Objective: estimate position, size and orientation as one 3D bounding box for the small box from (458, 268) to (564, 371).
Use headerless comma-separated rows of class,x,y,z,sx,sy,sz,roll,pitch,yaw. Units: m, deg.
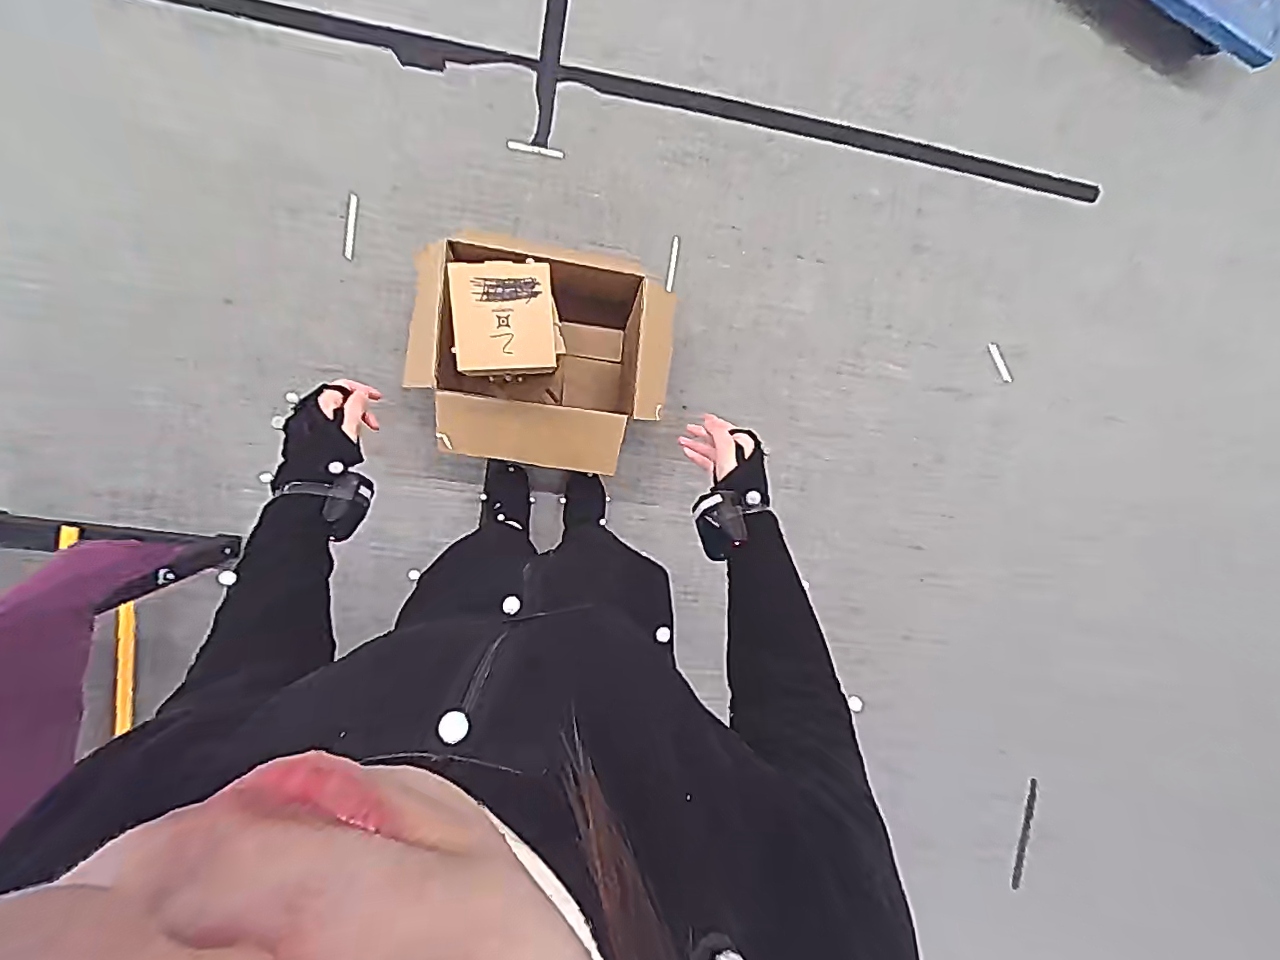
small box,-0.266,-0.330,1.142,0.179,0.176,0.168,-14,100,-10
